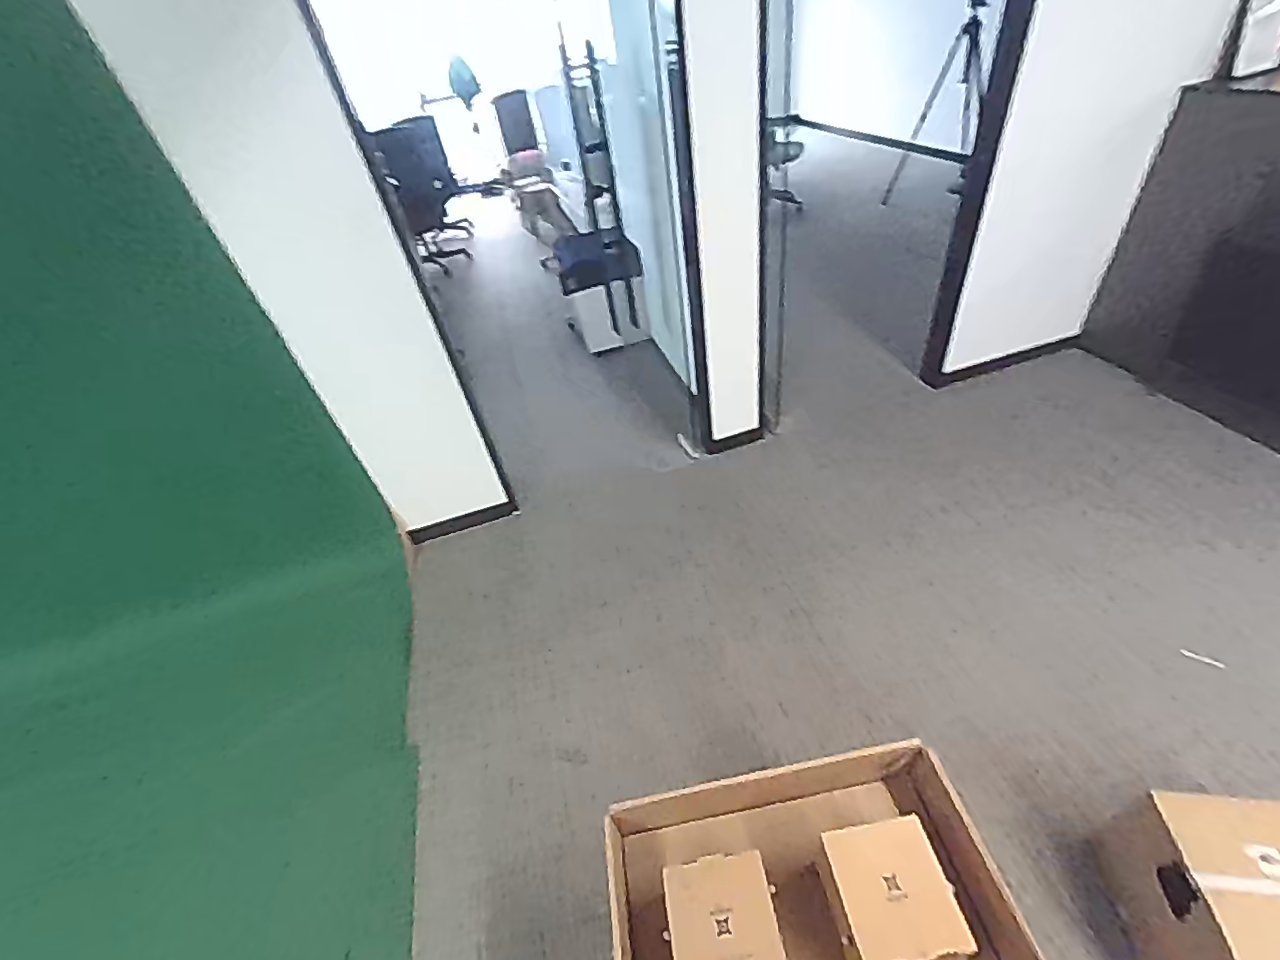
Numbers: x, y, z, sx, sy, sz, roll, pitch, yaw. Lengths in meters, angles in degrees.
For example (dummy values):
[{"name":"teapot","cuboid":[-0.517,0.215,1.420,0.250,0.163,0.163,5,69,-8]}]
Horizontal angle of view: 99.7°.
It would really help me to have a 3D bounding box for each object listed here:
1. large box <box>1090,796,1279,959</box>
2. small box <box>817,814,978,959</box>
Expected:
[{"name":"large box","cuboid":[1.228,0.852,1.055,0.408,0.320,0.320,-1,42,12]},{"name":"small box","cuboid":[0.402,0.683,0.885,0.168,0.176,0.179,-11,43,0]}]
